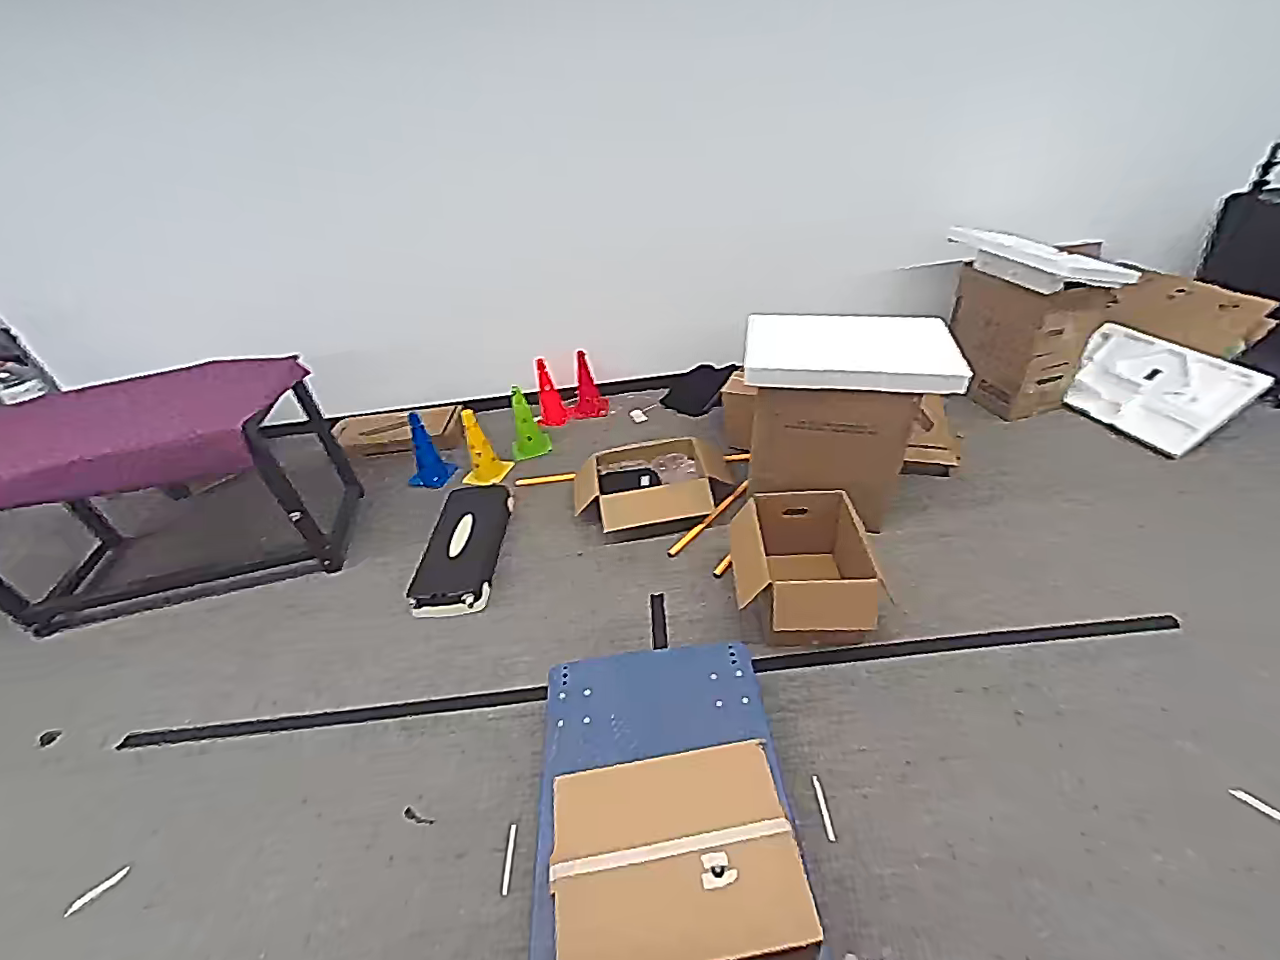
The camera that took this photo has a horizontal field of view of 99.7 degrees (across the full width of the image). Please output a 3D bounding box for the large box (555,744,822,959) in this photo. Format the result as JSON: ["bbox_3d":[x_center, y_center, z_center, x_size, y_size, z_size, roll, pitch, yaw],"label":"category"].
[{"bbox_3d":[0.070,0.753,1.003,0.408,0.320,0.320,-9,37,-4],"label":"large box"}]
